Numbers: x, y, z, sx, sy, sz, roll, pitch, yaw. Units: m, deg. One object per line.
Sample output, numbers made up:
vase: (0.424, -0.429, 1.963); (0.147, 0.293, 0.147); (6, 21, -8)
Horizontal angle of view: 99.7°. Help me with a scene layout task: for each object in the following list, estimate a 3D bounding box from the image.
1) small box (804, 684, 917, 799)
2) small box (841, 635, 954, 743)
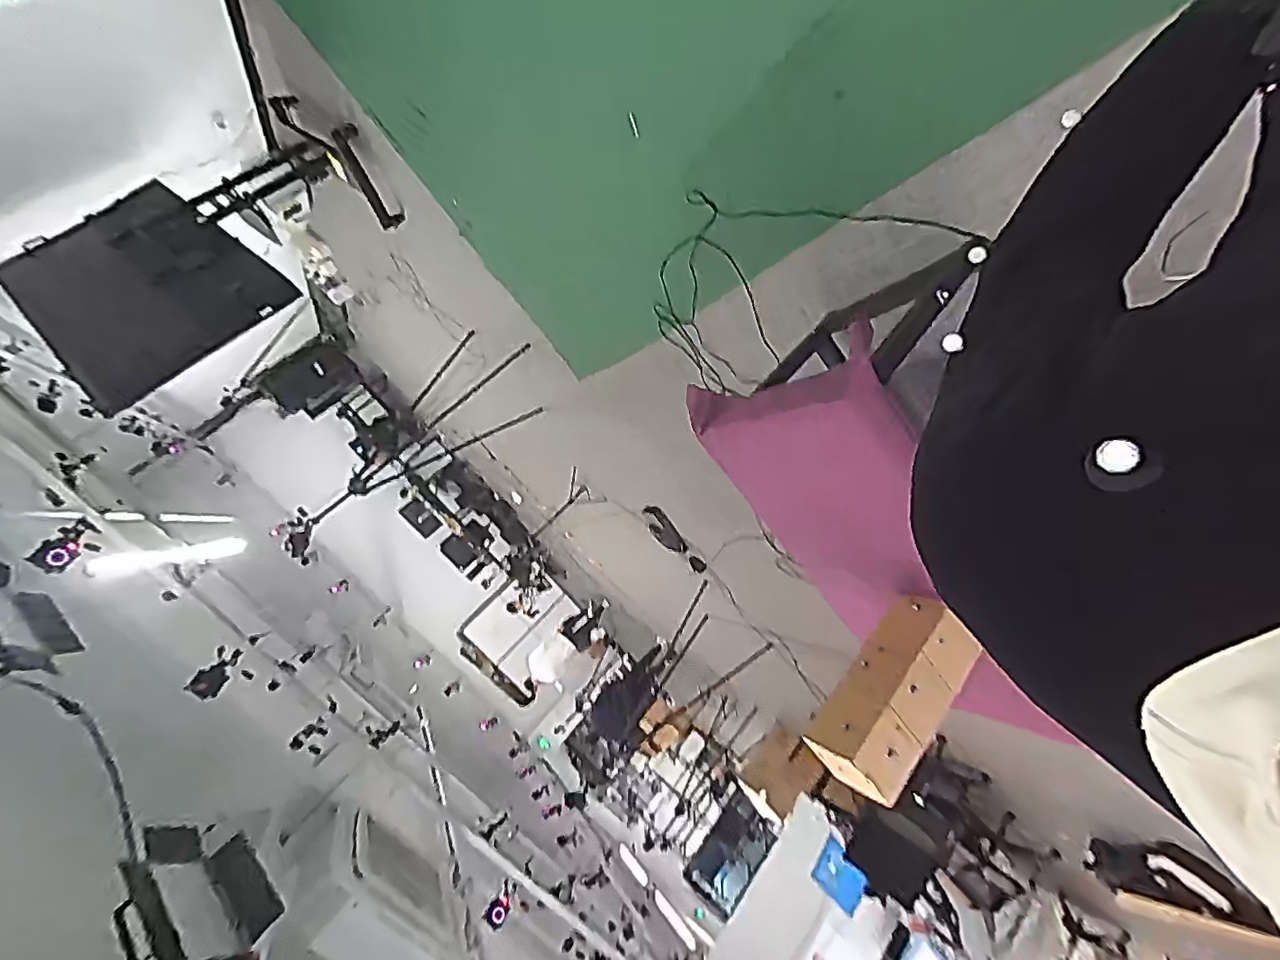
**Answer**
small box: (0.555, 0.638, 1.345); (0.168, 0.176, 0.179); (51, 158, -12)
small box: (0.666, 0.530, 1.398); (0.179, 0.176, 0.168); (50, 158, -13)
